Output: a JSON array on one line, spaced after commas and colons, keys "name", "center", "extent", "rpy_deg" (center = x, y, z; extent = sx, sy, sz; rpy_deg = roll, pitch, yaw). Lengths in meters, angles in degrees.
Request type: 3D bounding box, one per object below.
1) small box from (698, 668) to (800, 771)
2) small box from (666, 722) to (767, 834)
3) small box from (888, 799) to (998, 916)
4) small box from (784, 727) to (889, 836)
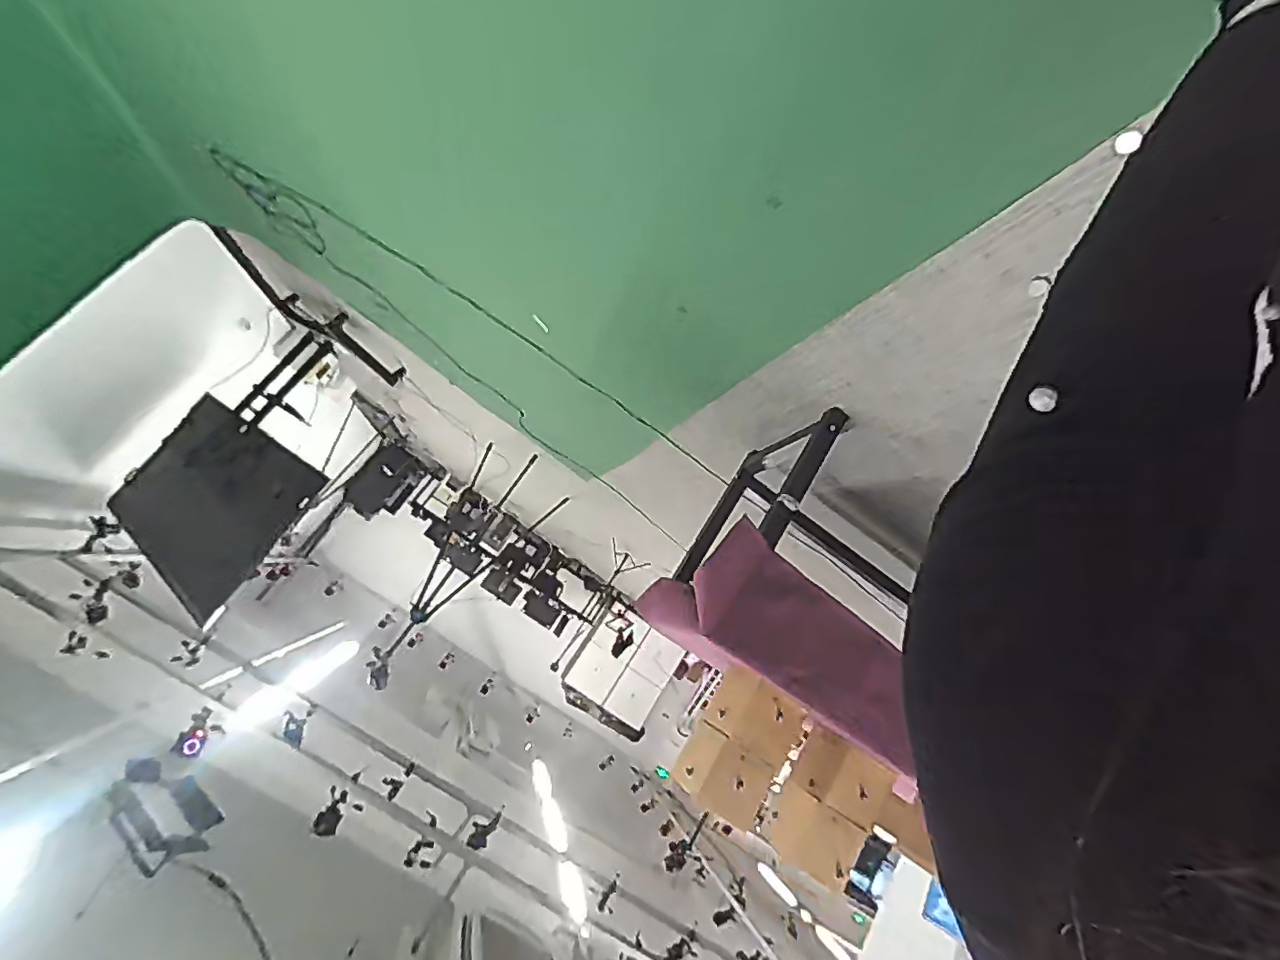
[{"name": "small box", "center": [0.292, 0.625, 1.437], "extent": [0.168, 0.176, 0.179], "rpy_deg": [38, 162, -11]}, {"name": "small box", "center": [0.201, 0.754, 1.389], "extent": [0.168, 0.176, 0.179], "rpy_deg": [38, 163, -9]}, {"name": "small box", "center": [0.835, 1.026, 1.486], "extent": [0.179, 0.176, 0.168], "rpy_deg": [39, 163, -9]}, {"name": "small box", "center": [0.538, 0.812, 1.473], "extent": [0.179, 0.176, 0.168], "rpy_deg": [37, 163, -10]}]
